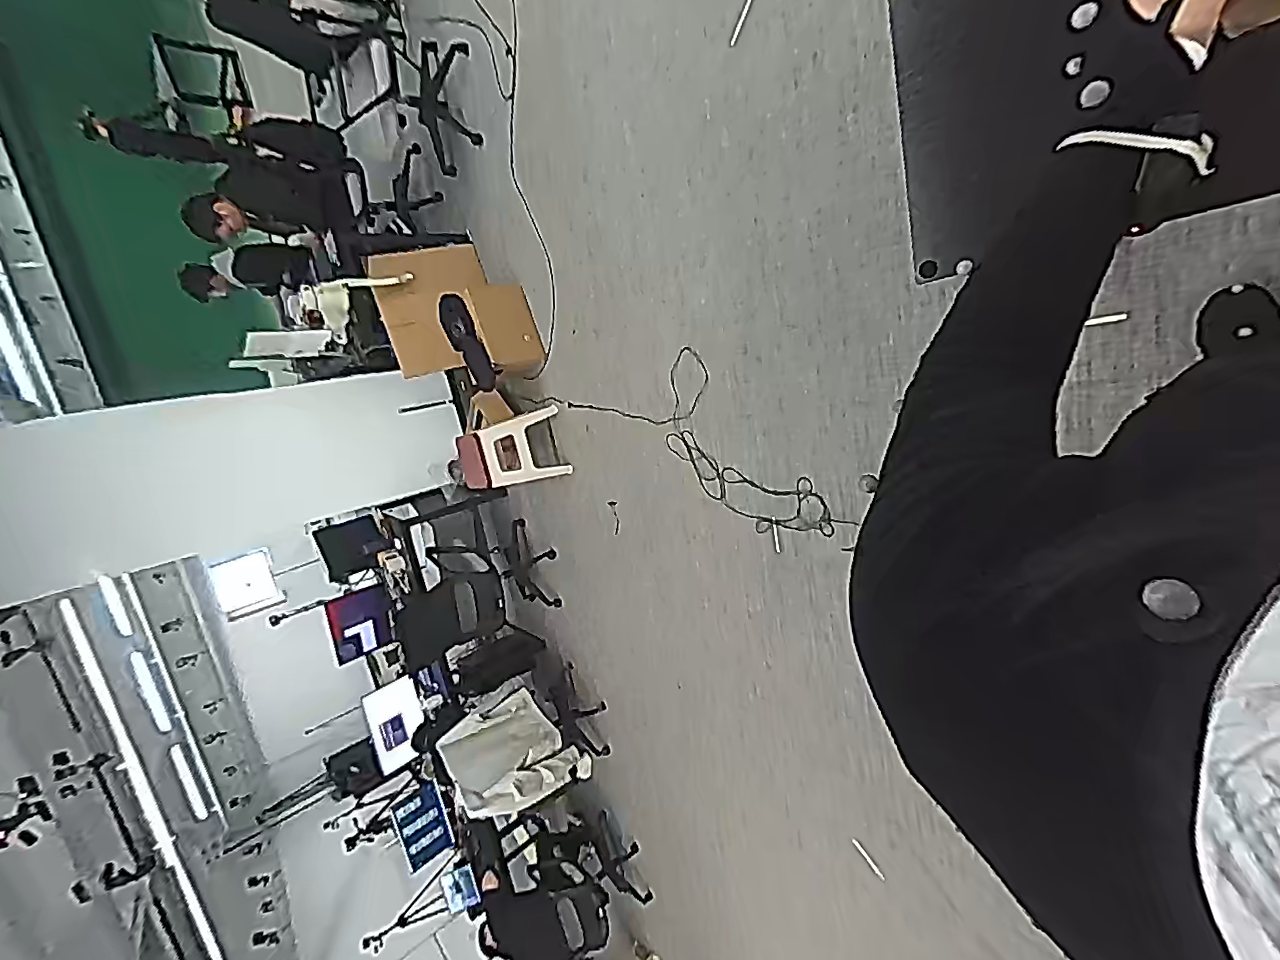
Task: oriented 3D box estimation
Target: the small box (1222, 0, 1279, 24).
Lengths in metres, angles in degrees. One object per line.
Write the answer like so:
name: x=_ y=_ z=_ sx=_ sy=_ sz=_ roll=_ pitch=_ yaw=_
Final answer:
small box: x=0.491 y=-0.451 z=0.348 sx=0.168 sy=0.176 sz=0.179 roll=4 pitch=109 yaw=51
